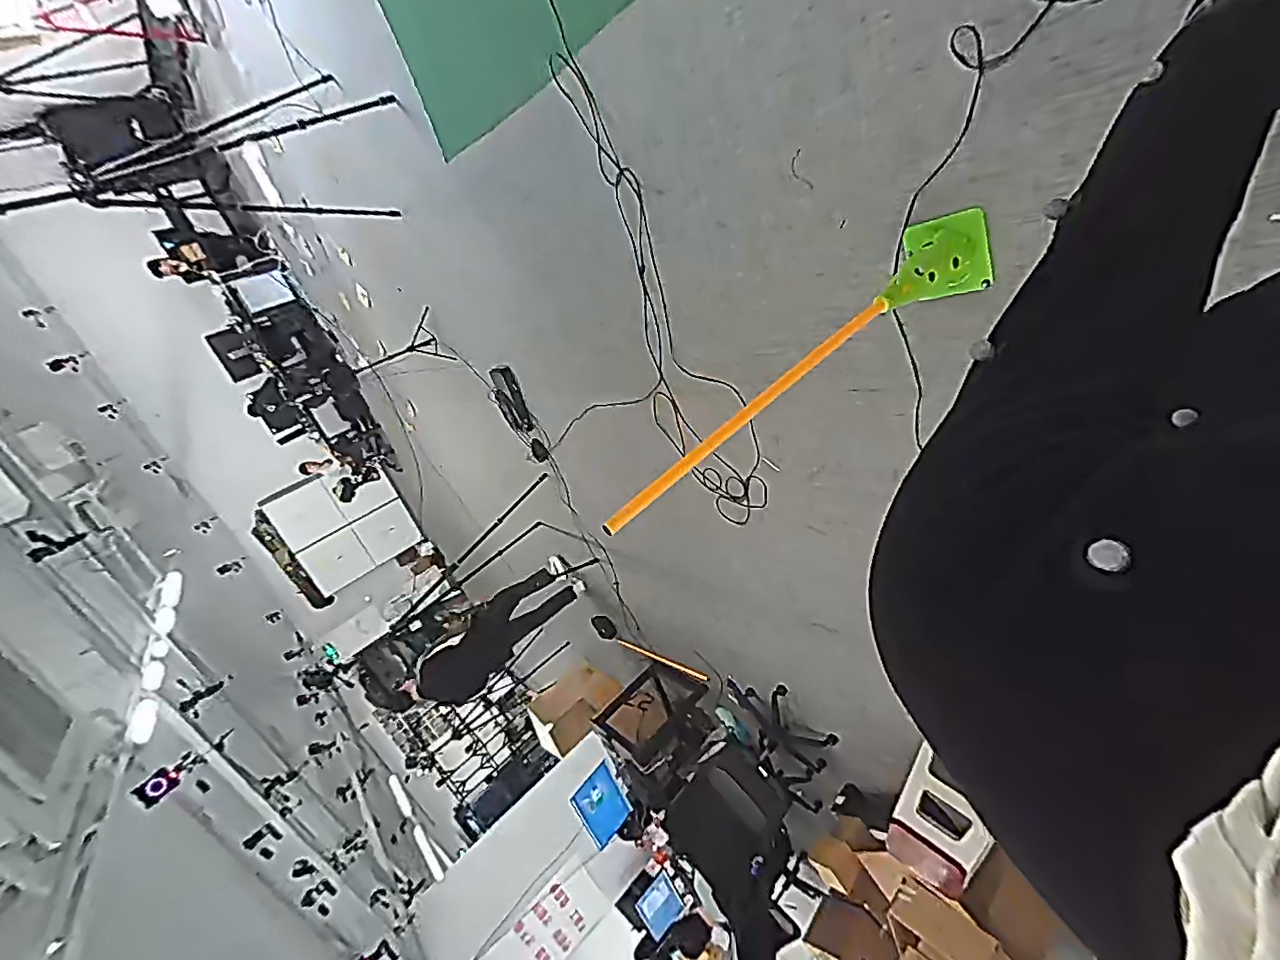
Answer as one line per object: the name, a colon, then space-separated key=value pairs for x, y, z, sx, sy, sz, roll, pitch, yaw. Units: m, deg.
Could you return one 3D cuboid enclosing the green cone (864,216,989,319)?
green cone: x=0.673 y=-0.486 z=1.339 sx=0.202 sy=0.368 sz=0.200 roll=8 pitch=126 yaw=54
